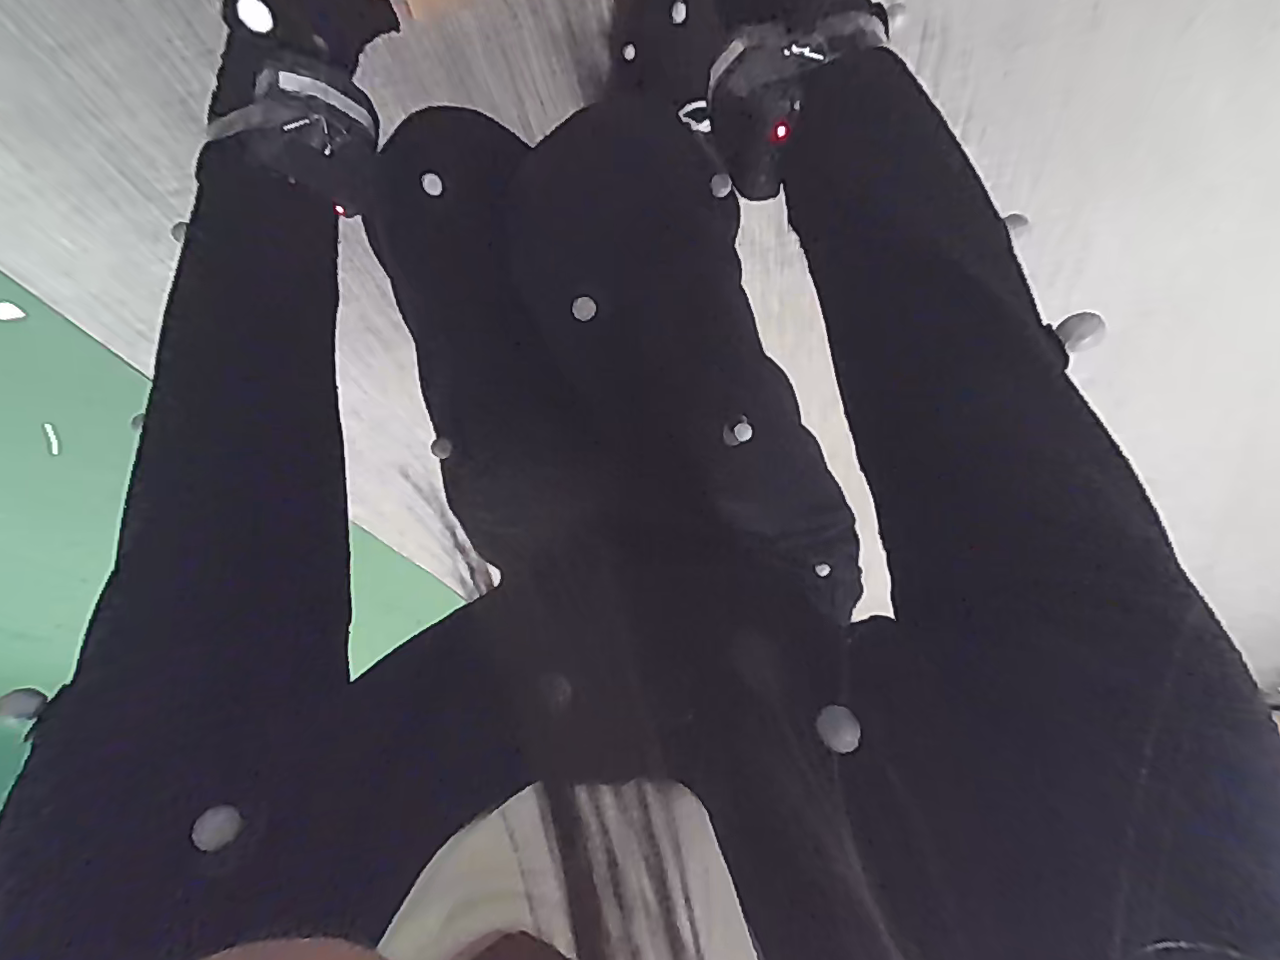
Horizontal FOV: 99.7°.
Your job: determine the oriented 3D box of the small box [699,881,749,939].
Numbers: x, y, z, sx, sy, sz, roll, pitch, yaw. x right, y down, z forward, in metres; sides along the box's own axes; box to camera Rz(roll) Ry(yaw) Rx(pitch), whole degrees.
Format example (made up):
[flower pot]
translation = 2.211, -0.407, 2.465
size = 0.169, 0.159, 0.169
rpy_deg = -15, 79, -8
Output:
[small box]
translation = 0.330, 1.682, 2.126
size = 0.179, 0.176, 0.168
rpy_deg = -9, 147, 11
